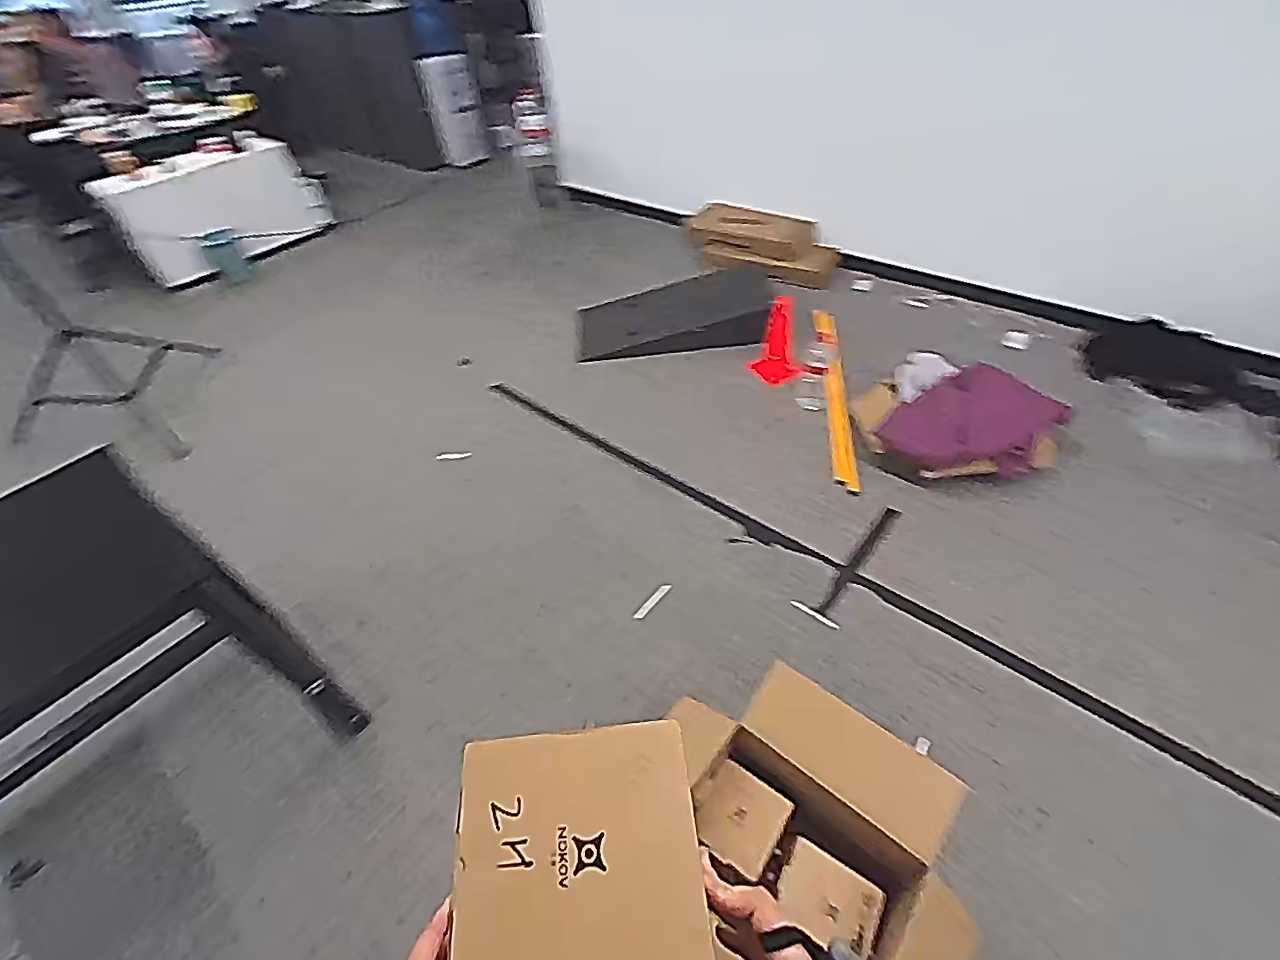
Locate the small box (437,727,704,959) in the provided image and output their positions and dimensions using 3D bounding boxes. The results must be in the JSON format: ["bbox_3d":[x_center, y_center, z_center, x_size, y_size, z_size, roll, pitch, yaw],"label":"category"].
[{"bbox_3d":[-0.053,0.321,0.450,0.179,0.176,0.168,-6,52,-4],"label":"small box"}]
